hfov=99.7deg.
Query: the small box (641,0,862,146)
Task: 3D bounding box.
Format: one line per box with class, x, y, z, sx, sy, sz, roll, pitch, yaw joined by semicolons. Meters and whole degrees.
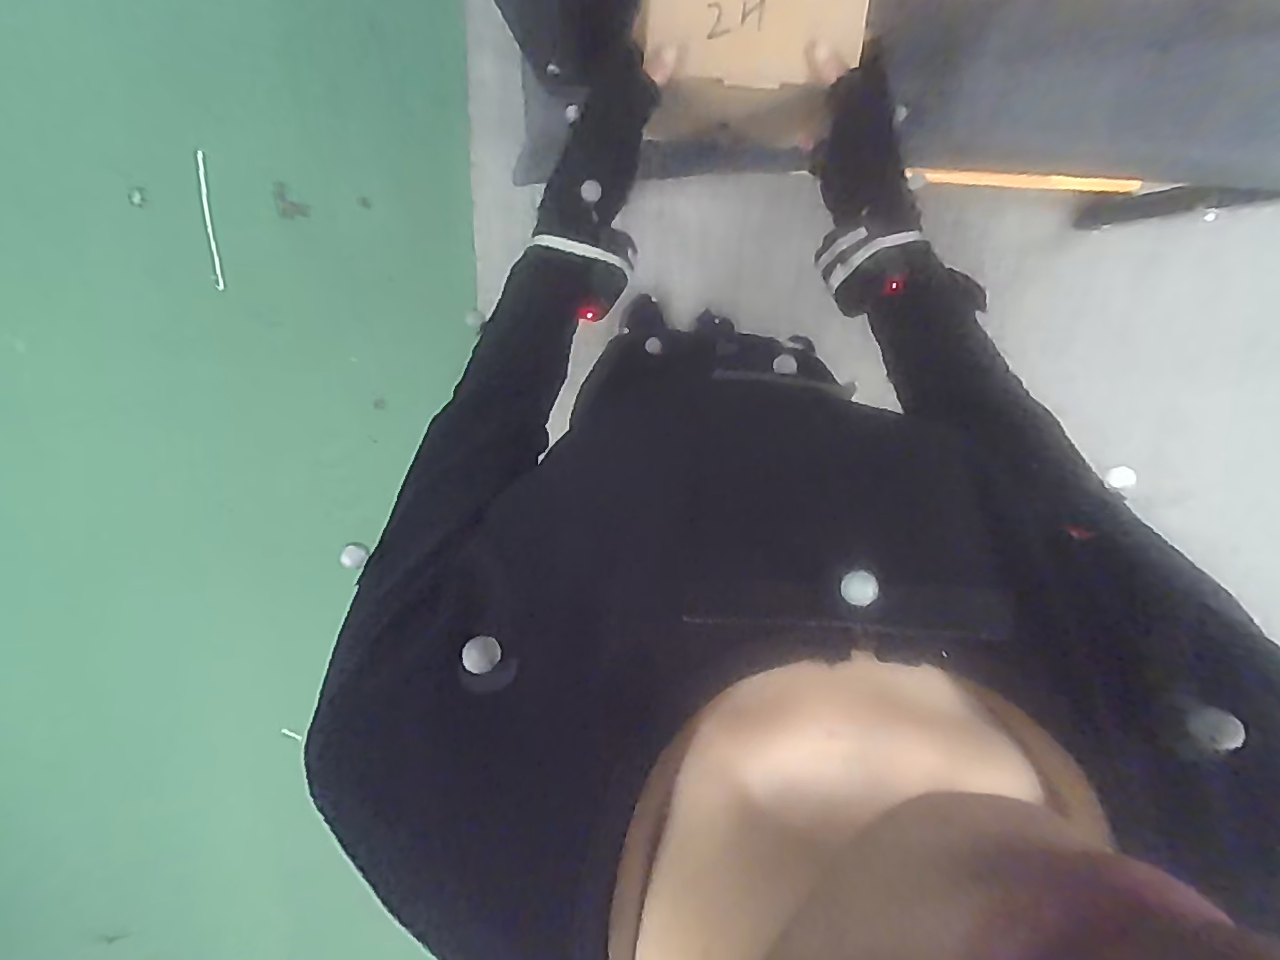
small box;0.088;-0.422;0.477;0.168;0.176;0.179;2;108;-2
